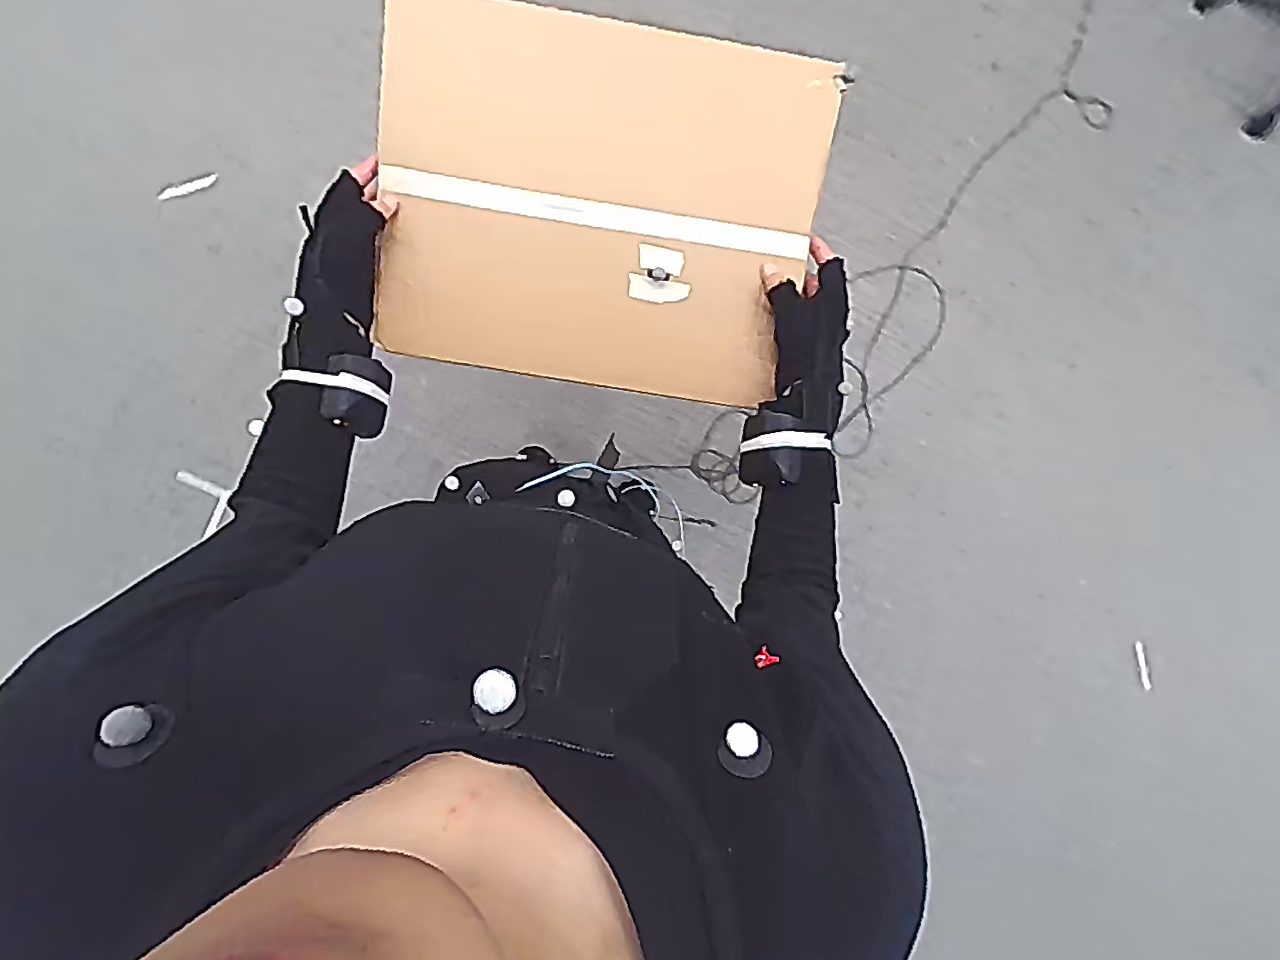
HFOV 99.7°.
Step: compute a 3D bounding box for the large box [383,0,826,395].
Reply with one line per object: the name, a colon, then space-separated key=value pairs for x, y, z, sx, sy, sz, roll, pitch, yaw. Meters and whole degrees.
large box: x=-0.049 y=-0.292 z=0.664 sx=0.408 sy=0.320 sz=0.320 roll=8 pitch=104 yaw=-3
